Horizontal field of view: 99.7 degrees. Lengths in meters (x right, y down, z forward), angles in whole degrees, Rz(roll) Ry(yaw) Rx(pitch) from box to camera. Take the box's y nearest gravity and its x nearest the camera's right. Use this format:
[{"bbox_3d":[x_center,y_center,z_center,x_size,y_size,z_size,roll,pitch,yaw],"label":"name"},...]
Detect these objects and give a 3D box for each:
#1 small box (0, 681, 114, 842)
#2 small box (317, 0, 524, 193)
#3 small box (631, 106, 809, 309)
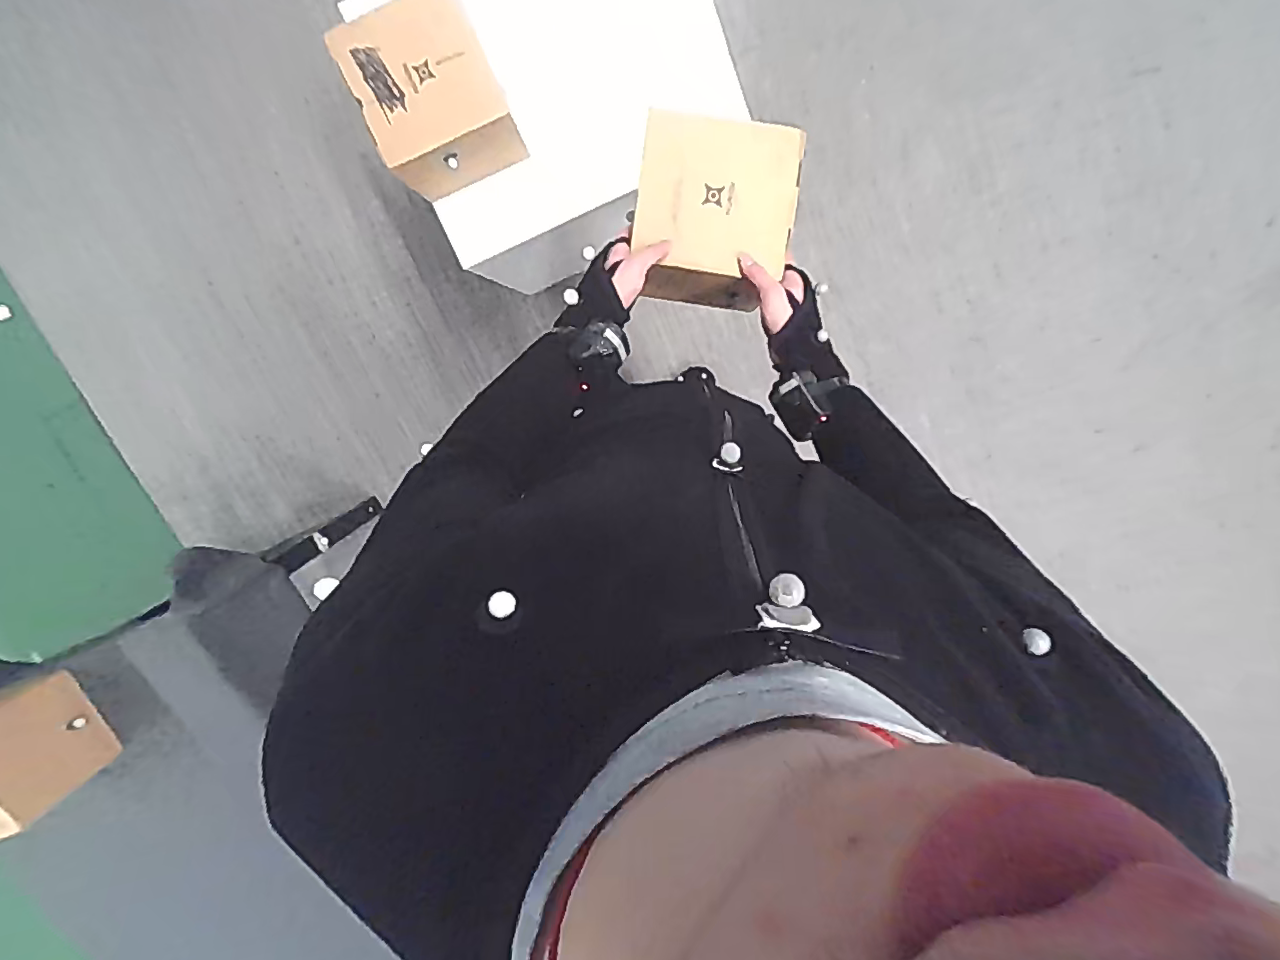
[{"bbox_3d":[-1.000,0.440,0.837,0.168,0.176,0.179,-20,105,4],"label":"small box"},{"bbox_3d":[-0.278,-0.518,0.729,0.179,0.176,0.168,-23,105,3],"label":"small box"},{"bbox_3d":[0.085,-0.315,0.664,0.179,0.176,0.168,6,95,-1],"label":"small box"}]
